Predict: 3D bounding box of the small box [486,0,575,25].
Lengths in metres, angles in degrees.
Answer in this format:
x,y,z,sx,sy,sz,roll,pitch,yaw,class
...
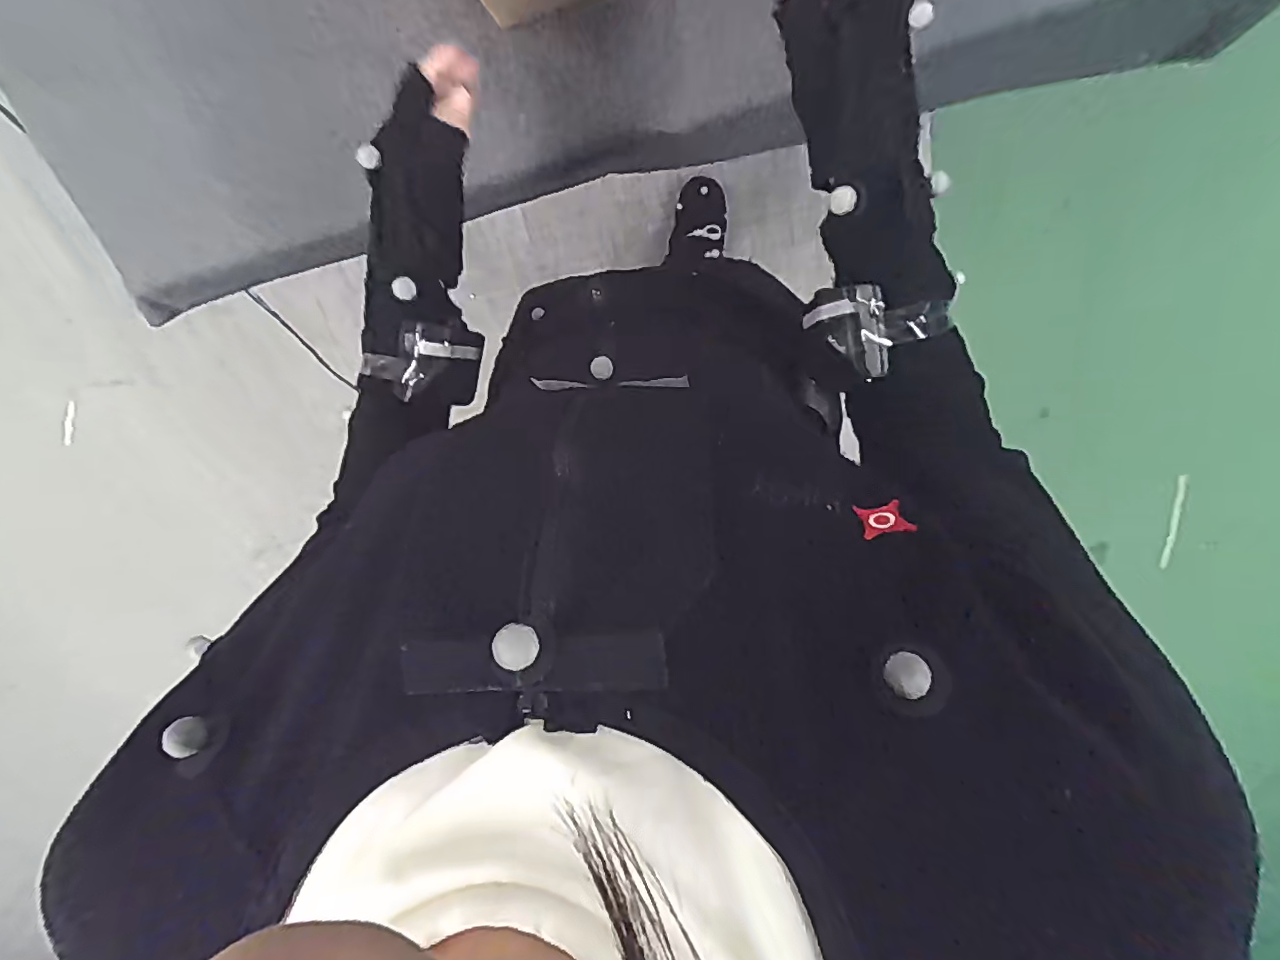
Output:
x,y,z,sx,sy,sz,roll,pitch,yaw,class
-0.066,-0.466,0.374,0.179,0.176,0.168,-18,115,8,small box
